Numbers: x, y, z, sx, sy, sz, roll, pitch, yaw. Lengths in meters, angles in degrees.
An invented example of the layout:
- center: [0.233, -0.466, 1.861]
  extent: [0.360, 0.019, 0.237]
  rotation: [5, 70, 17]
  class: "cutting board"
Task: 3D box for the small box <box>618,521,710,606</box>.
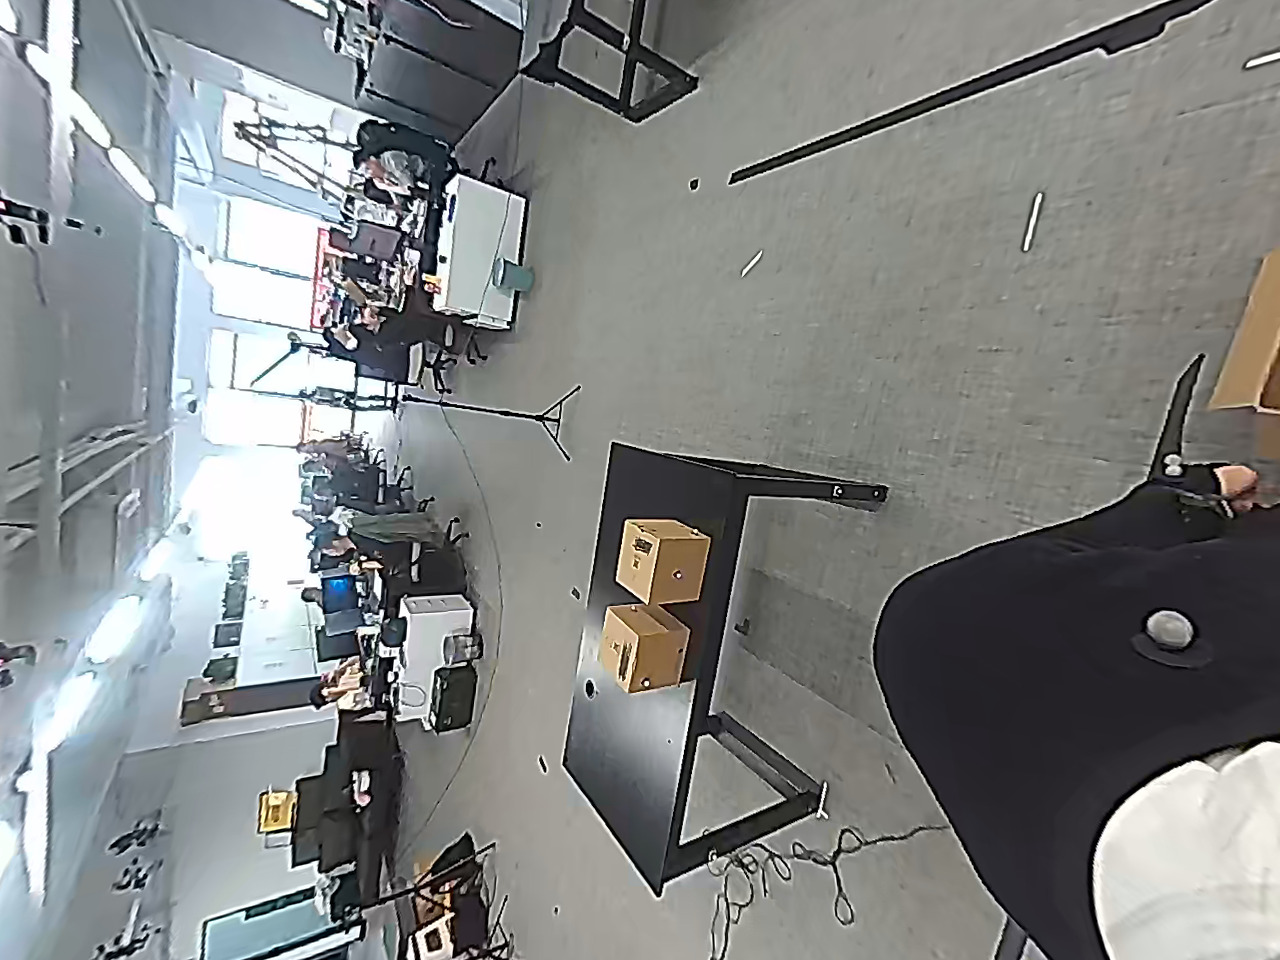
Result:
- center: [0.064, 0.214, 1.432]
  extent: [0.168, 0.176, 0.179]
  rotation: [24, 108, 55]
  class: "small box"
